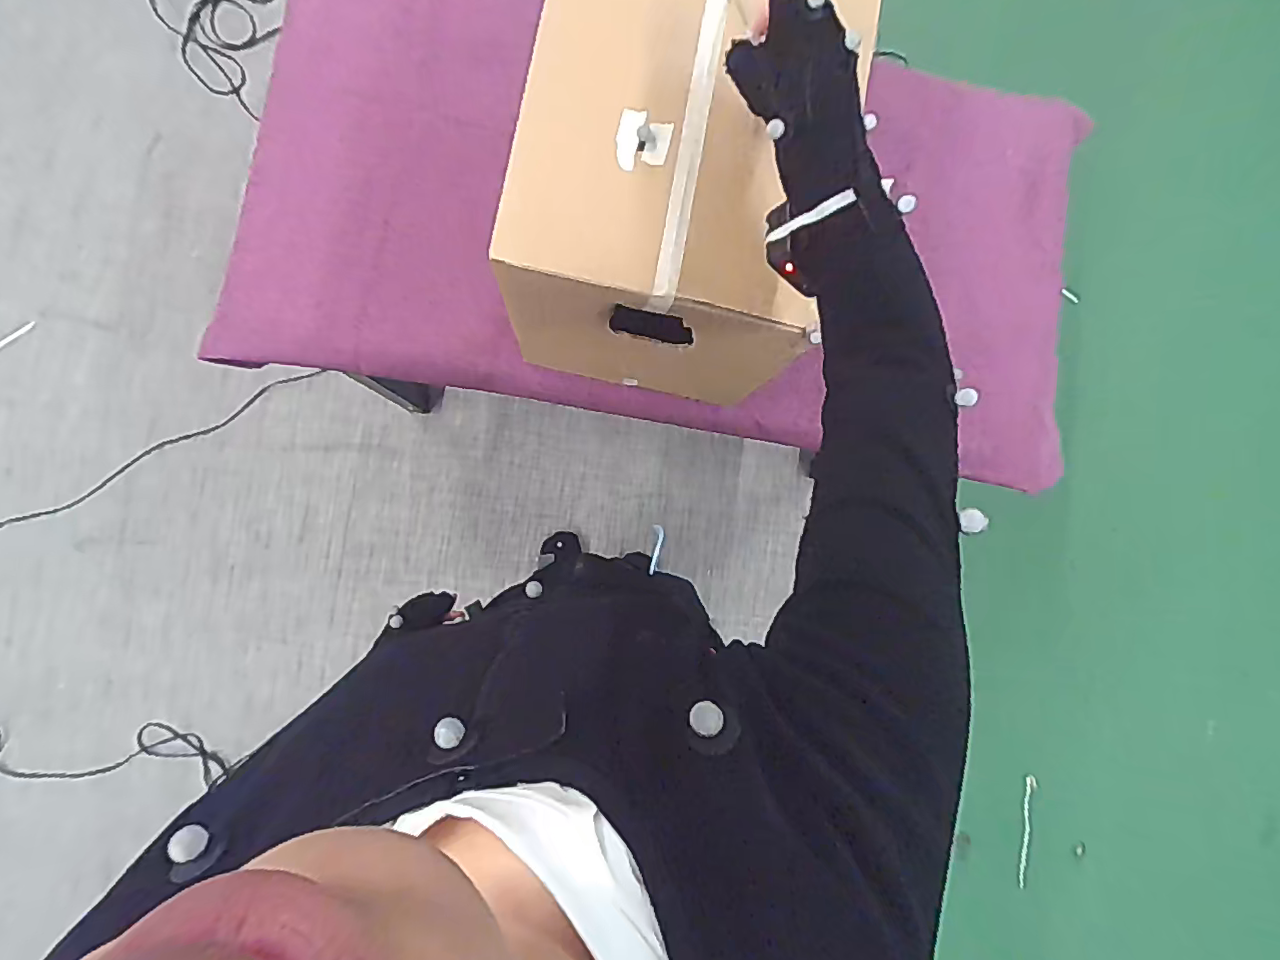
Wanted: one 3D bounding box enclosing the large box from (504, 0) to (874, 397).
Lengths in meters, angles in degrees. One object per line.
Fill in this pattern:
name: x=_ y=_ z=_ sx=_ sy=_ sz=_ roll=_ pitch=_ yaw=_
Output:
large box: x=0.040 y=-0.353 z=0.664 sx=0.320 sy=0.320 sz=0.408 roll=12 pitch=86 yaw=-6
